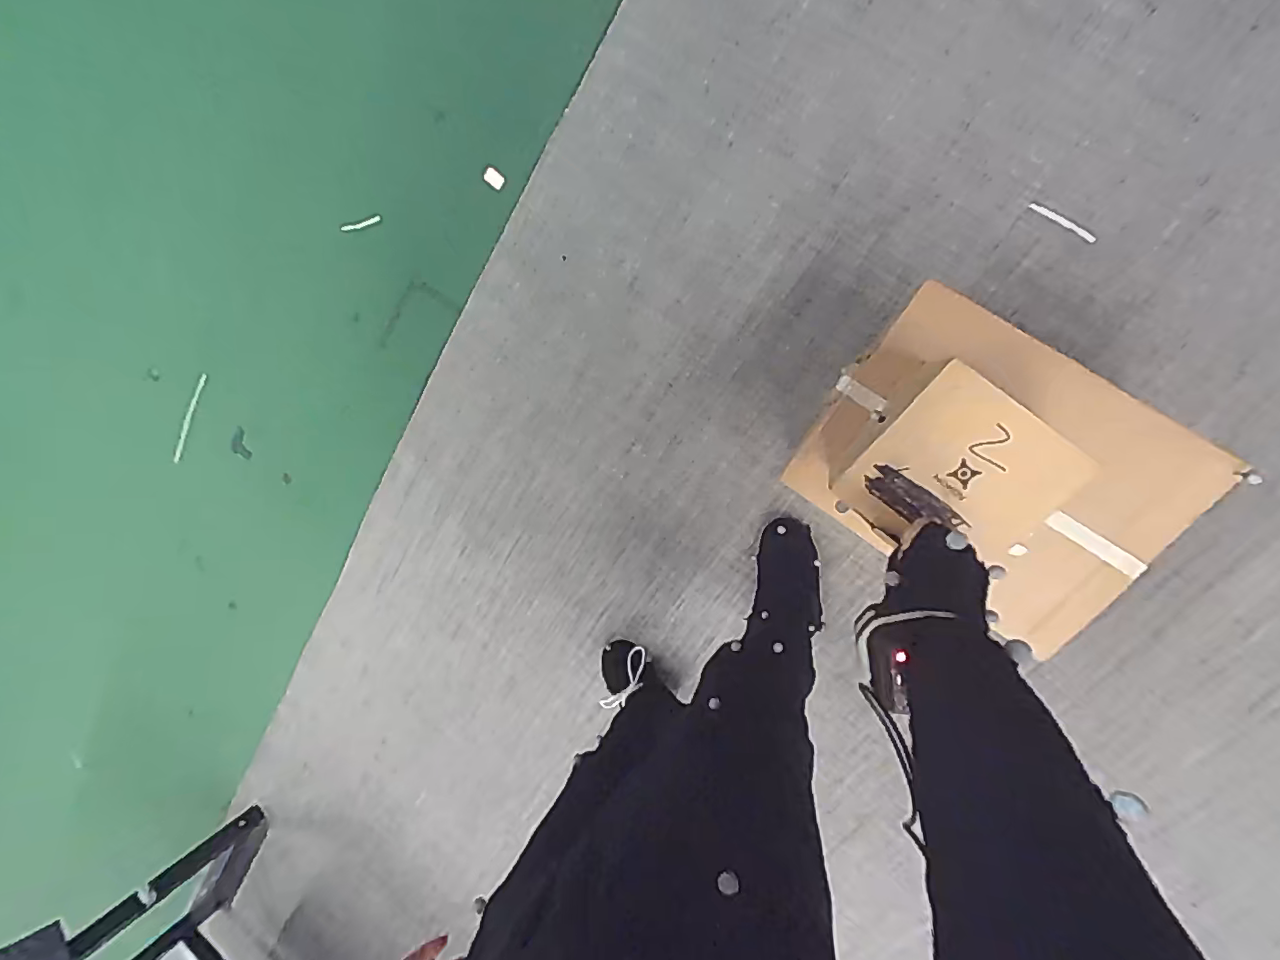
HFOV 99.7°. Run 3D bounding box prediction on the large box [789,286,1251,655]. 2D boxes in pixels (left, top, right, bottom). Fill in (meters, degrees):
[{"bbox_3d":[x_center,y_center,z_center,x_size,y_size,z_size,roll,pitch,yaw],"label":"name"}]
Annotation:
[{"bbox_3d":[0.483,-0.033,0.812,0.408,0.320,0.320,36,109,9],"label":"large box"}]
